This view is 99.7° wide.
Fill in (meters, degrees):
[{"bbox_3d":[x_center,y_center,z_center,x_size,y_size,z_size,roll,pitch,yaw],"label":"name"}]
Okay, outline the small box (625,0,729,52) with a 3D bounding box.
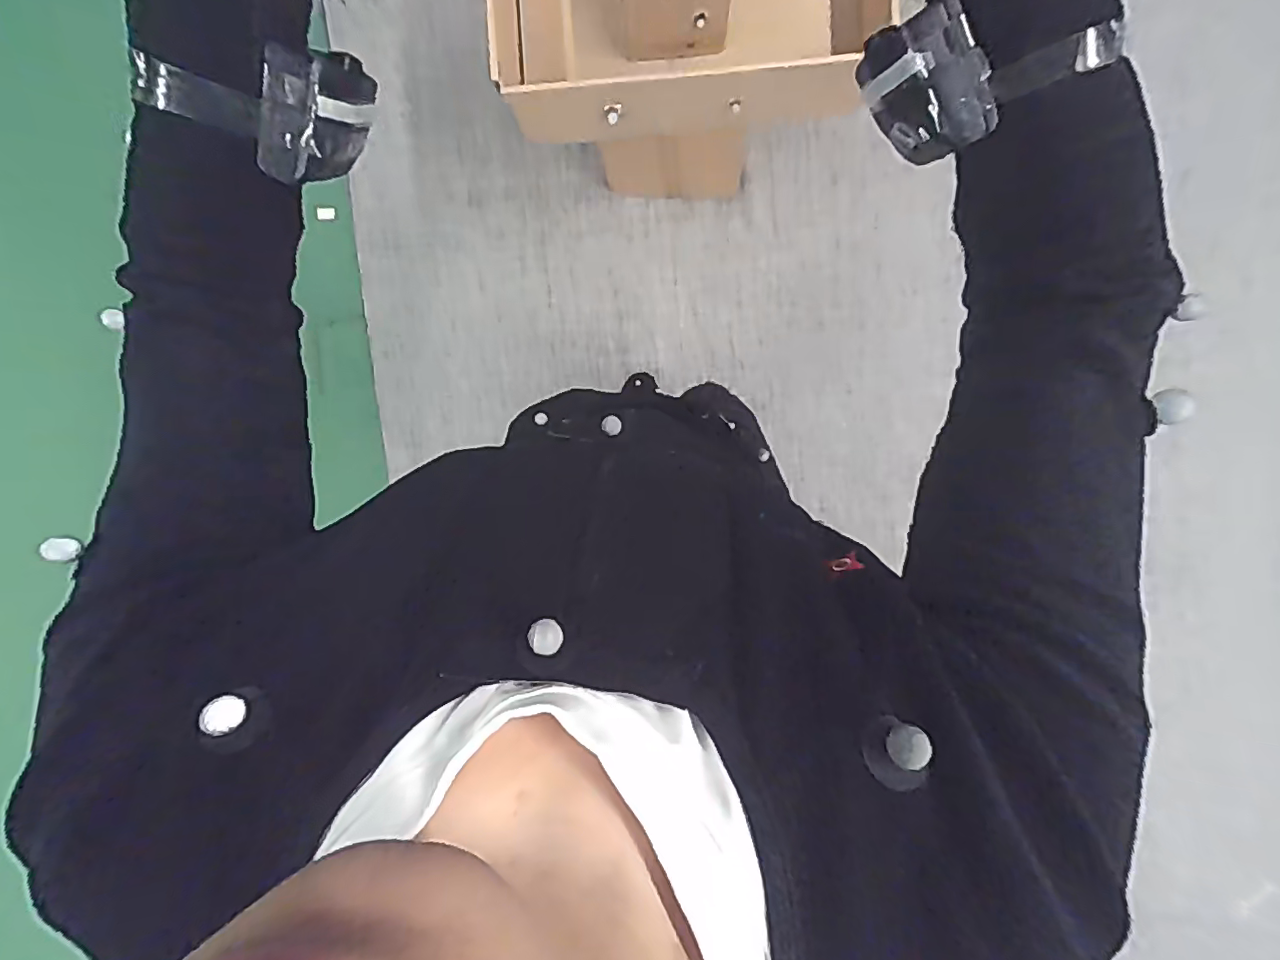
[{"bbox_3d":[0.056,-0.821,0.858,0.168,0.176,0.179,-3,94,3],"label":"small box"}]
